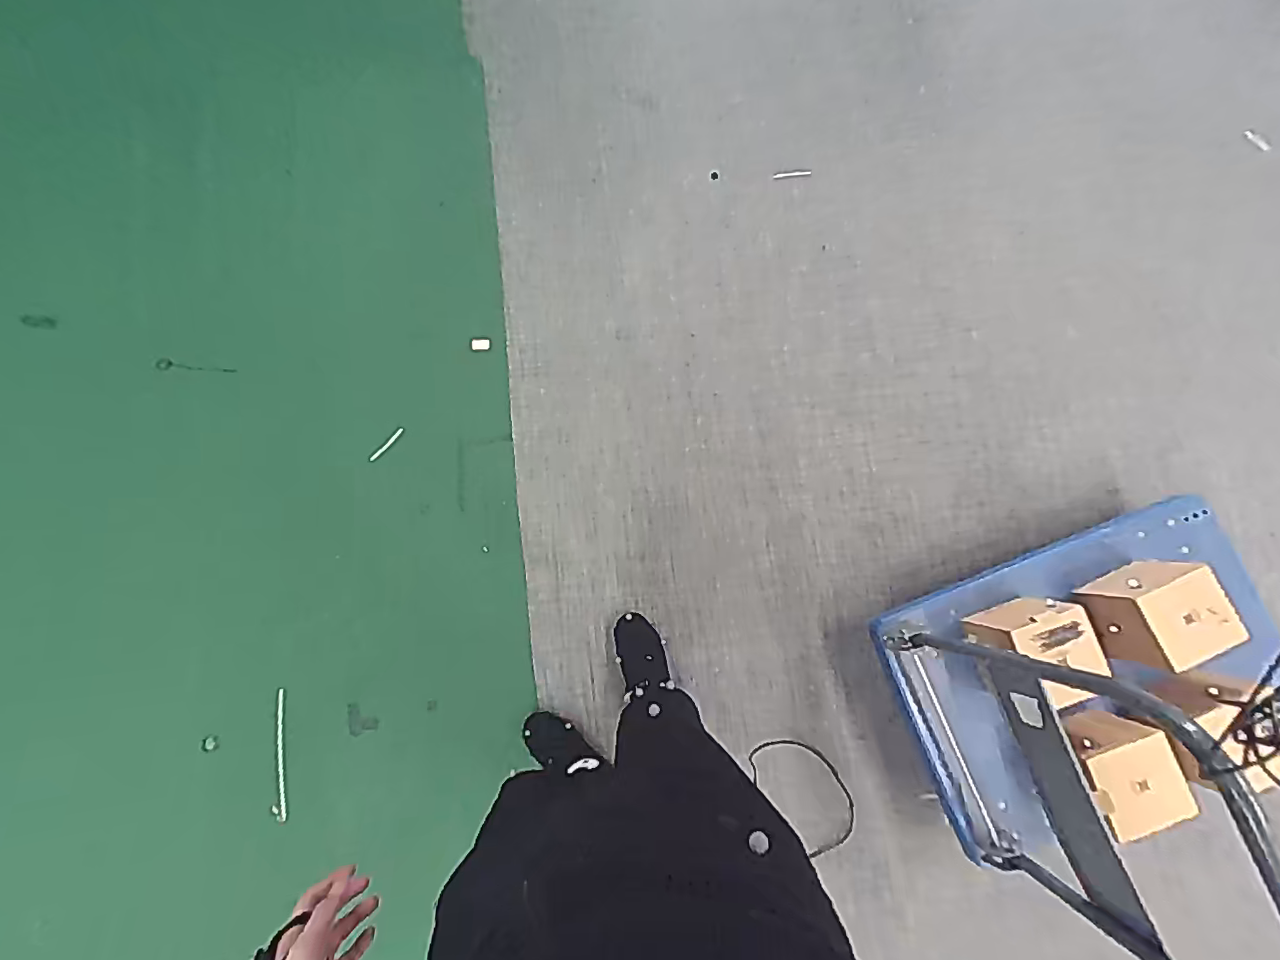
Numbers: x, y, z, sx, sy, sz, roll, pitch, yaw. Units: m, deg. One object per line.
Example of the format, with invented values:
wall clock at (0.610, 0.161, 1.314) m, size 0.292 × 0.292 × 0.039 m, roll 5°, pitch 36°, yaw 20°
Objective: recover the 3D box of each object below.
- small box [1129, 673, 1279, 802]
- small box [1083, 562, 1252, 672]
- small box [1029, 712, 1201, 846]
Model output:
small box at (1.201, 0.523, 1.129) m, size 0.179 × 0.176 × 0.168 m, roll -22°, pitch 82°, yaw -2°
small box at (1.110, 0.286, 1.161) m, size 0.179 × 0.176 × 0.168 m, roll -24°, pitch 83°, yaw -3°
small box at (0.970, 0.606, 1.121) m, size 0.179 × 0.176 × 0.168 m, roll -19°, pitch 82°, yaw -2°
